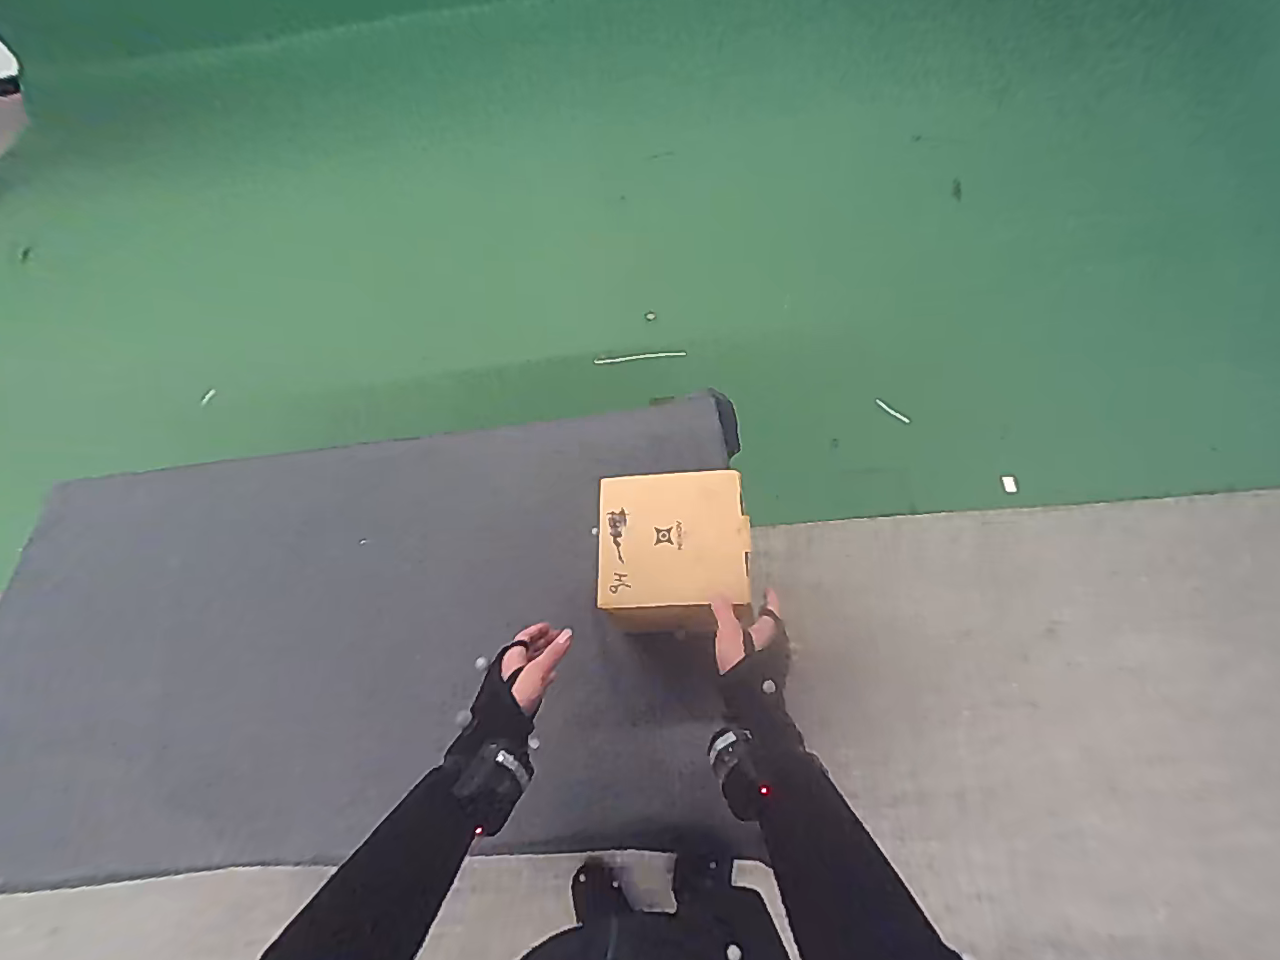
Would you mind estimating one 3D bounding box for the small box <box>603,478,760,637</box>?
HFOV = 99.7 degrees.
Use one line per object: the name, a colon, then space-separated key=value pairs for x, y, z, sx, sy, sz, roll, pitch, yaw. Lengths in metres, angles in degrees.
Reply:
small box: x=0.052 y=0.106 z=0.702 sx=0.179 sy=0.176 sz=0.168 roll=-2 pitch=65 yaw=5
